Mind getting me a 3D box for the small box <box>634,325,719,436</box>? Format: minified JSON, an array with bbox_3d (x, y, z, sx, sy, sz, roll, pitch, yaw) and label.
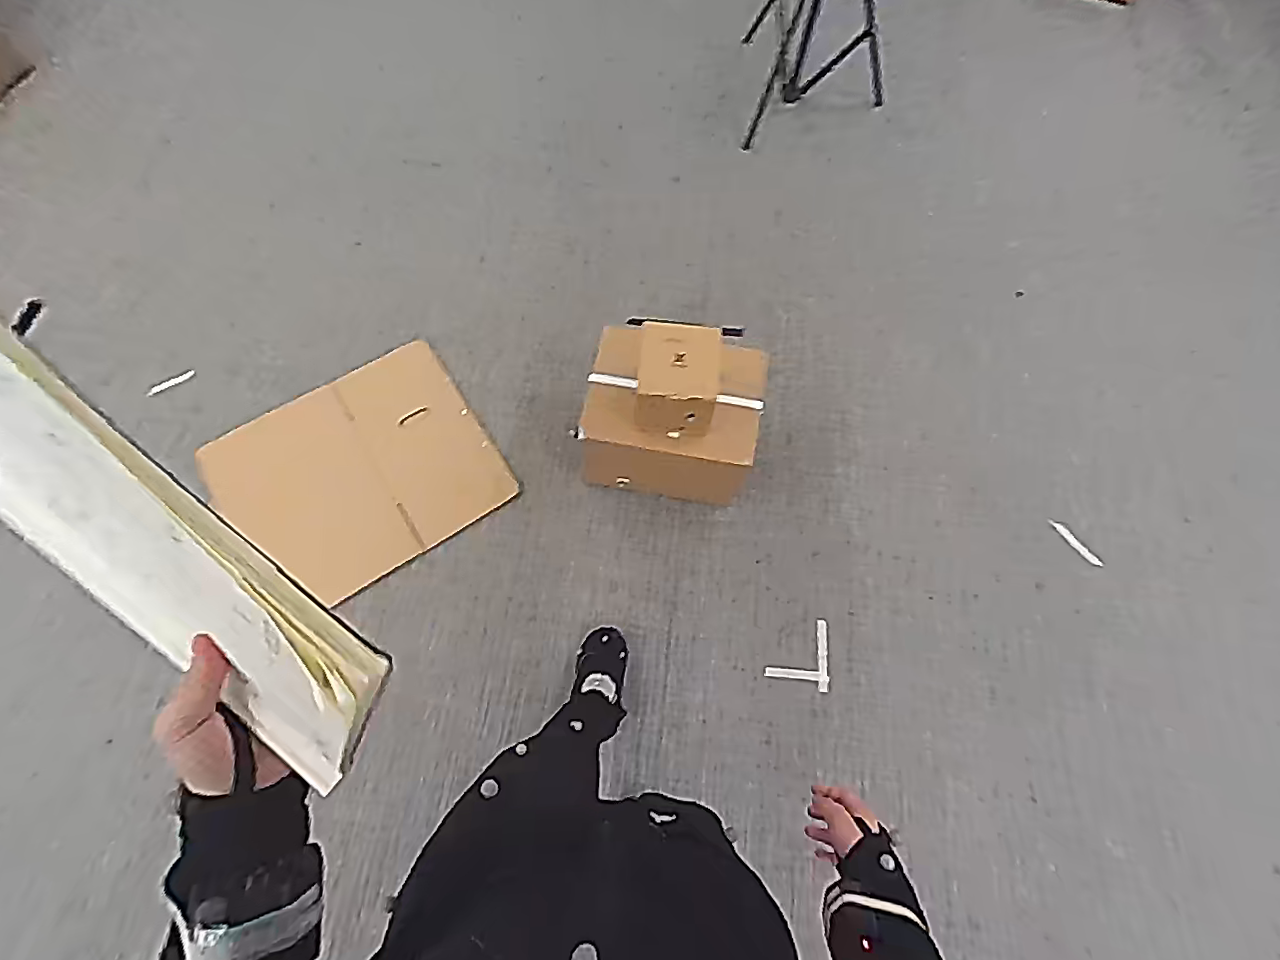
[{"bbox_3d":[0.076,-0.209,1.172,0.168,0.176,0.179,5,69,-1],"label":"small box"}]
